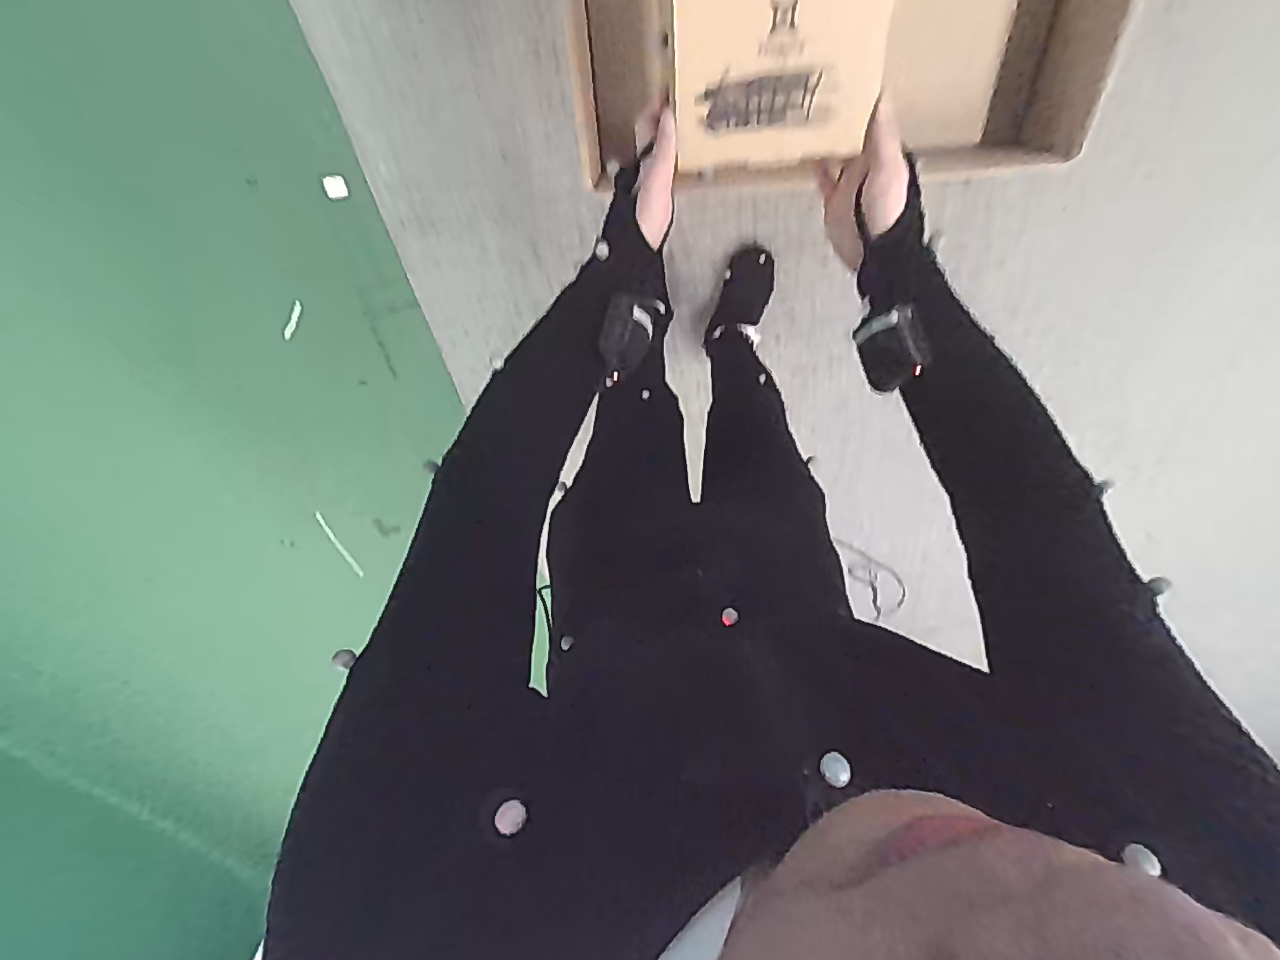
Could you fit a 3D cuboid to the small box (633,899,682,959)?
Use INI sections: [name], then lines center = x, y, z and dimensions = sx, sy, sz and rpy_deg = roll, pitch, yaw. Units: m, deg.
[small box]
center = 0.067, 1.713, 2.050
dimensions = 0.168, 0.176, 0.179
rpy_deg = -8, 129, 6
